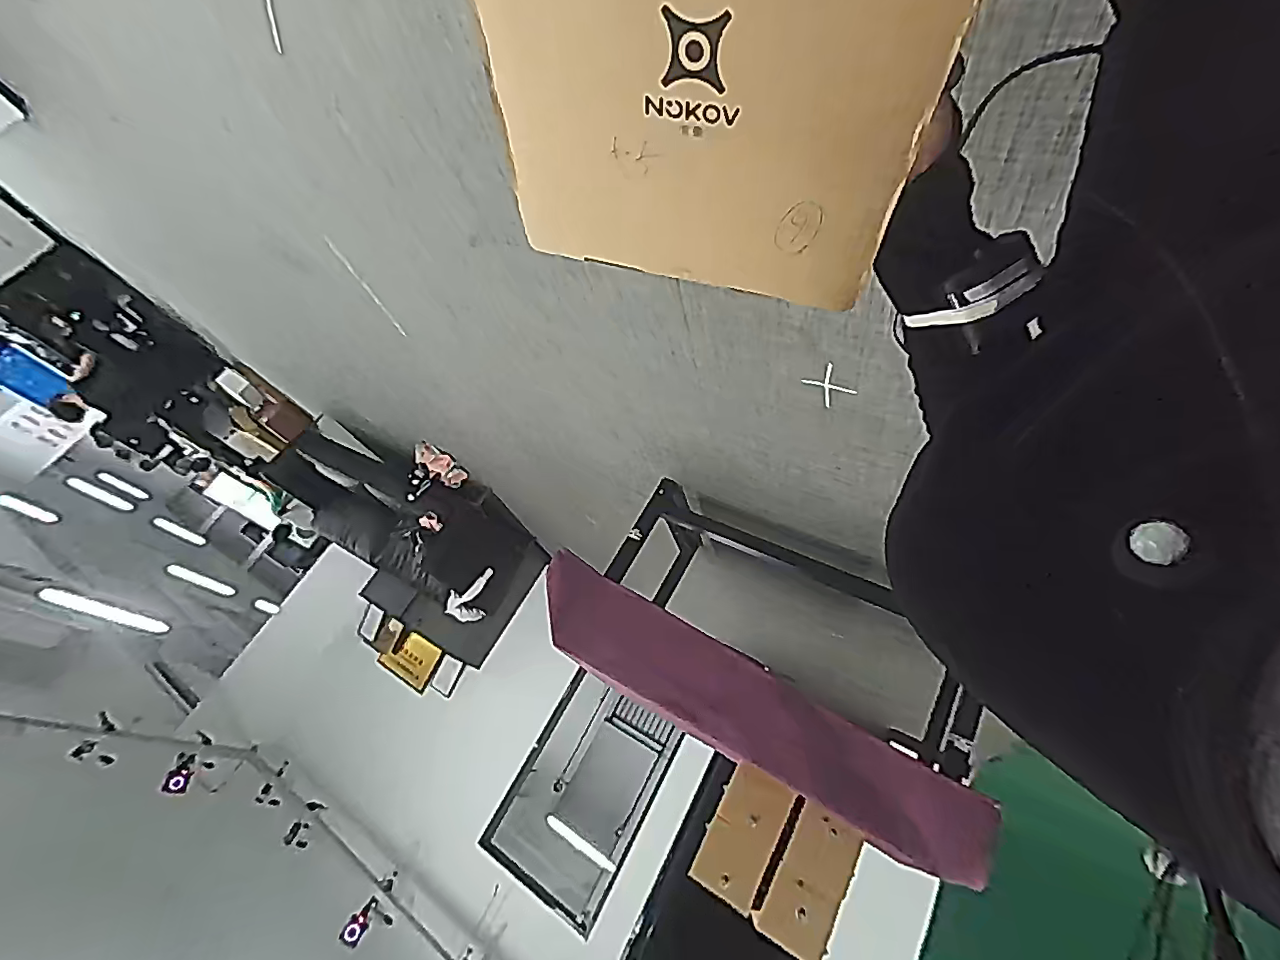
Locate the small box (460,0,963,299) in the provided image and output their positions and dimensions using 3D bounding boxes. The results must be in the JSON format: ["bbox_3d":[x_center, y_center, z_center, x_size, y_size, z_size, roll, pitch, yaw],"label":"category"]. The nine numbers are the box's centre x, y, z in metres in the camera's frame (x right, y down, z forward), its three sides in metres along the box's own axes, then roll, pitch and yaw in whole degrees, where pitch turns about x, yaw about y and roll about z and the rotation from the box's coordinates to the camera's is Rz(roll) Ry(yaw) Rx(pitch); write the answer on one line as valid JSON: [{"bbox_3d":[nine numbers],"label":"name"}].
[{"bbox_3d":[0.039,-0.212,0.222,0.168,0.176,0.179,15,151,9],"label":"small box"}]
